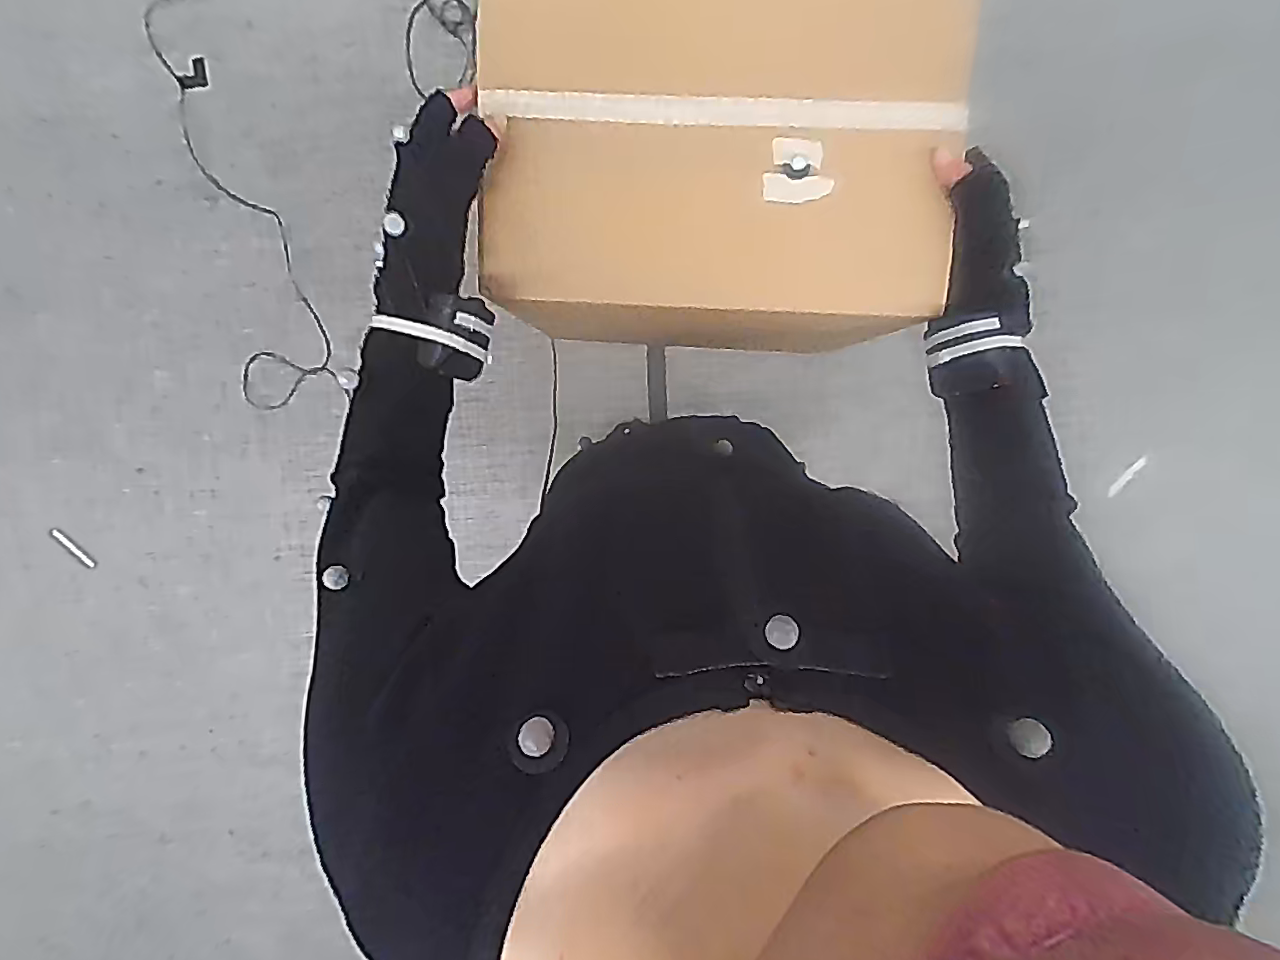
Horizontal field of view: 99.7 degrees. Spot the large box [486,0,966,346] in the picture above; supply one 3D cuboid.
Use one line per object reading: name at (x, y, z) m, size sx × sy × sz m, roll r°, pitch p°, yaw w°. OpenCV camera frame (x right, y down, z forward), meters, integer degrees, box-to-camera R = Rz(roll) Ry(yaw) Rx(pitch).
large box at (0.070, -0.332, 0.608) m, size 0.408 × 0.320 × 0.320 m, roll 4°, pitch 98°, yaw 2°
